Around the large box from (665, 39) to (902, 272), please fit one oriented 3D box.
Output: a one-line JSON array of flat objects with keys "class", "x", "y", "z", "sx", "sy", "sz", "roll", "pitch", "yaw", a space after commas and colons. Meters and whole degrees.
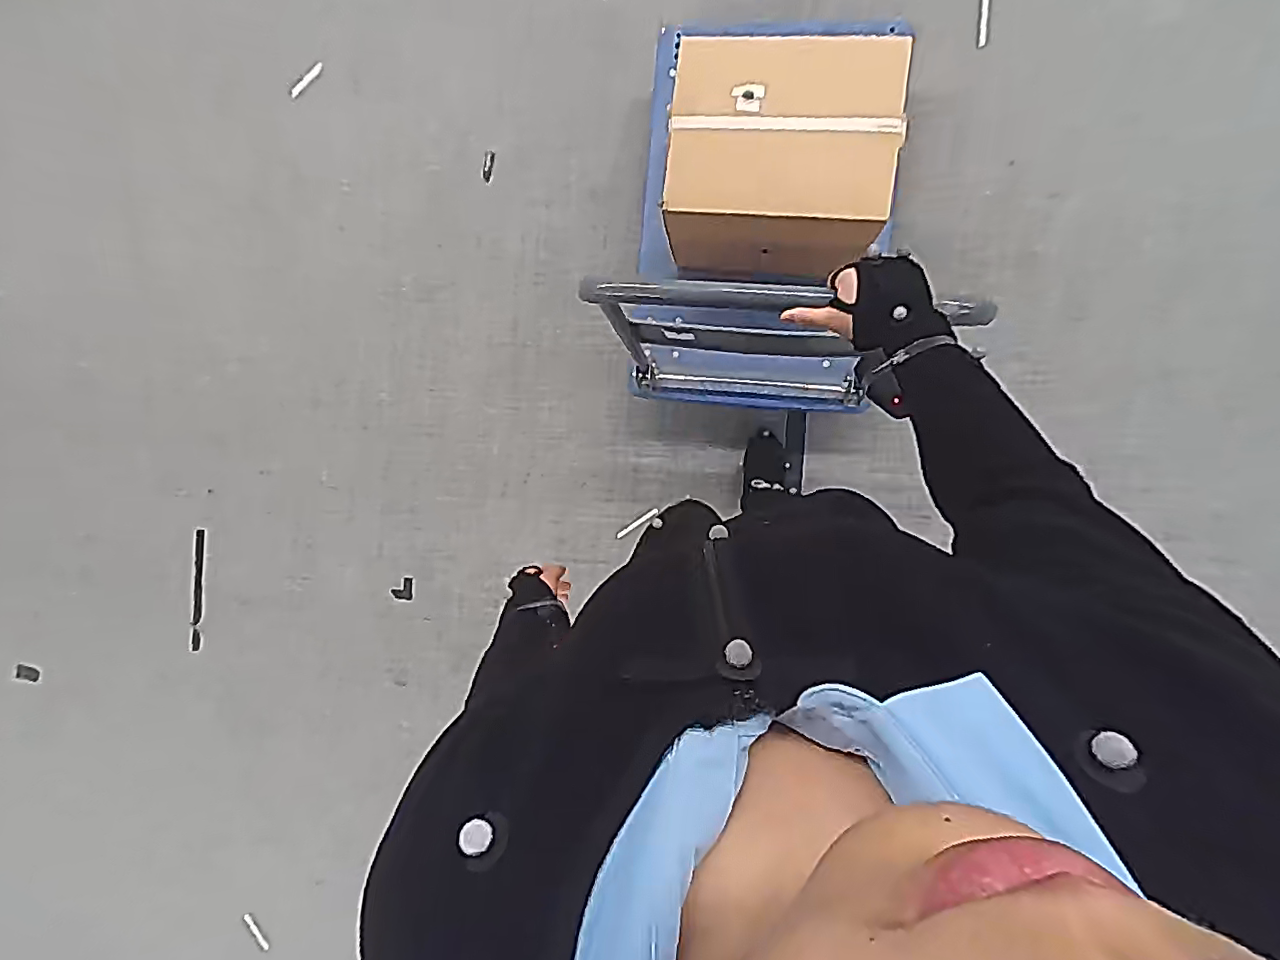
[{"class": "large box", "x": 0.281, "y": -0.642, "z": 1.130, "sx": 0.408, "sy": 0.320, "sz": 0.320, "roll": 6, "pitch": 92, "yaw": 10}]
